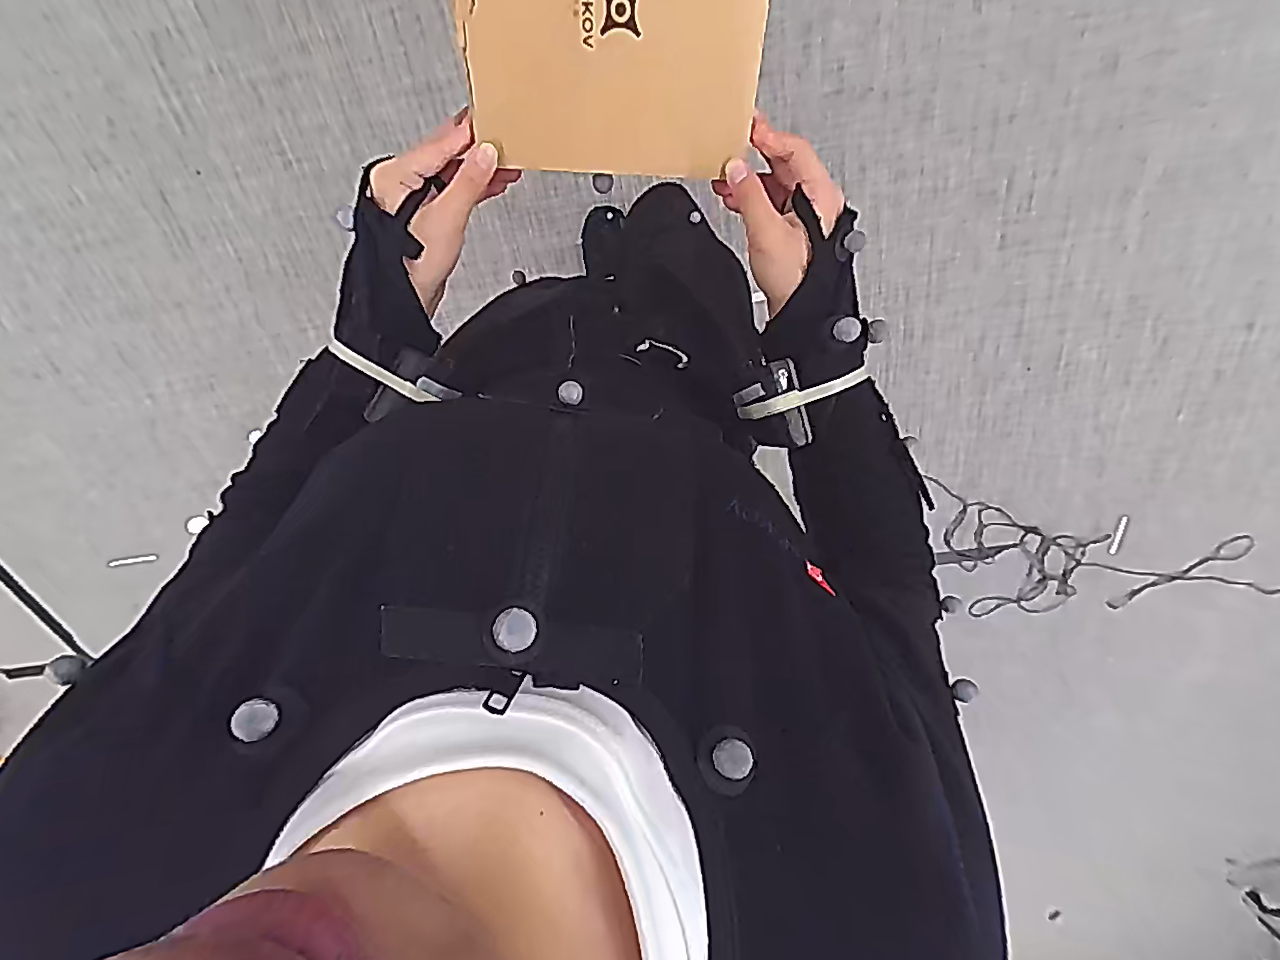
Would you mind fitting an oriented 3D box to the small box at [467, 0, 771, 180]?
[{"bbox_3d":[-0.011,-0.318,0.372,0.179,0.176,0.168,3,128,0],"label":"small box"}]
